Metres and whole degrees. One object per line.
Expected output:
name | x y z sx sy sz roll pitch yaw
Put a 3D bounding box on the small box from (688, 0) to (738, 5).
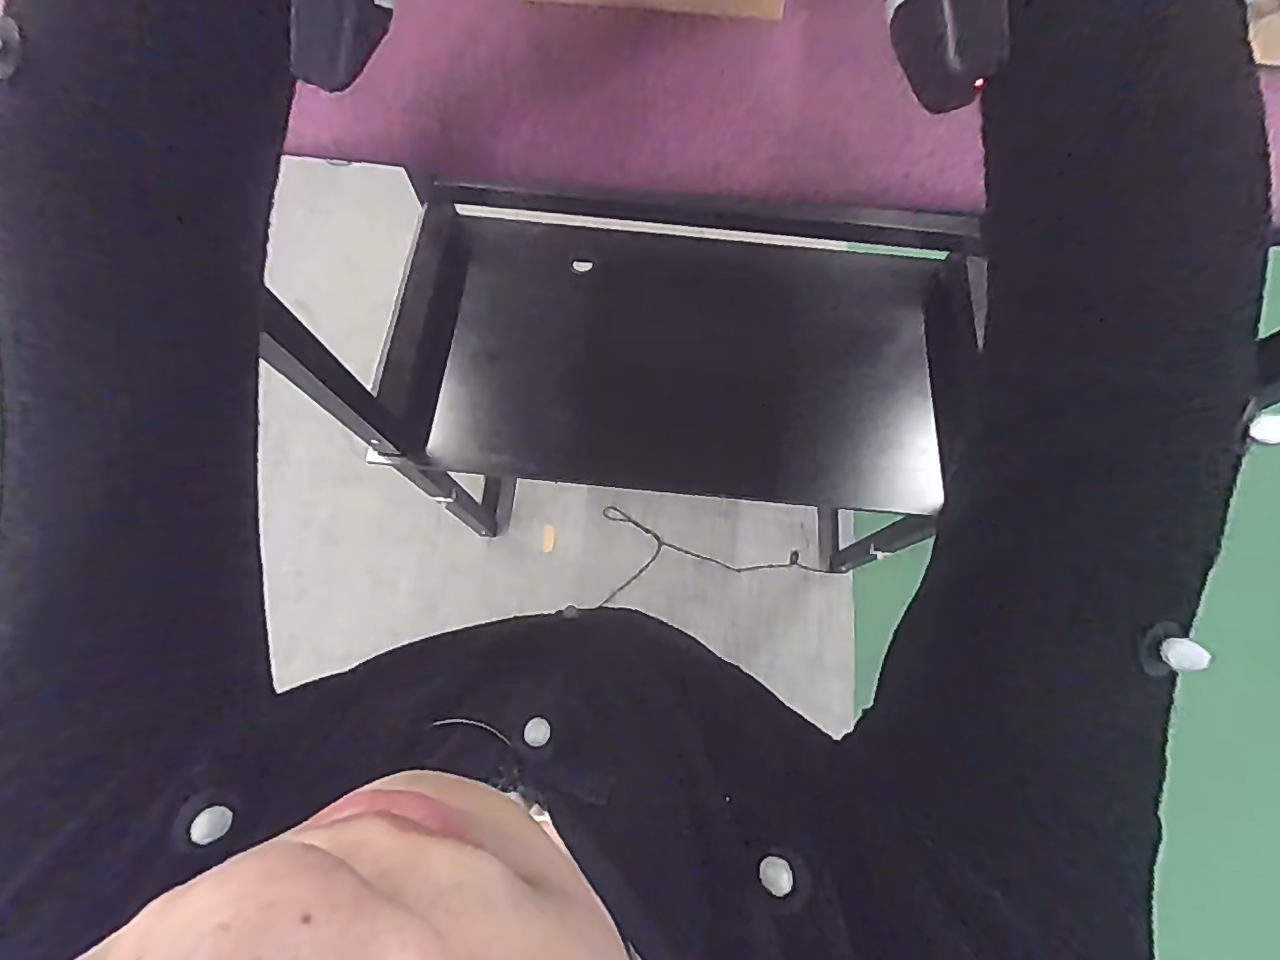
small box | 0.014 -0.415 0.302 0.179 0.176 0.168 6 71 1
